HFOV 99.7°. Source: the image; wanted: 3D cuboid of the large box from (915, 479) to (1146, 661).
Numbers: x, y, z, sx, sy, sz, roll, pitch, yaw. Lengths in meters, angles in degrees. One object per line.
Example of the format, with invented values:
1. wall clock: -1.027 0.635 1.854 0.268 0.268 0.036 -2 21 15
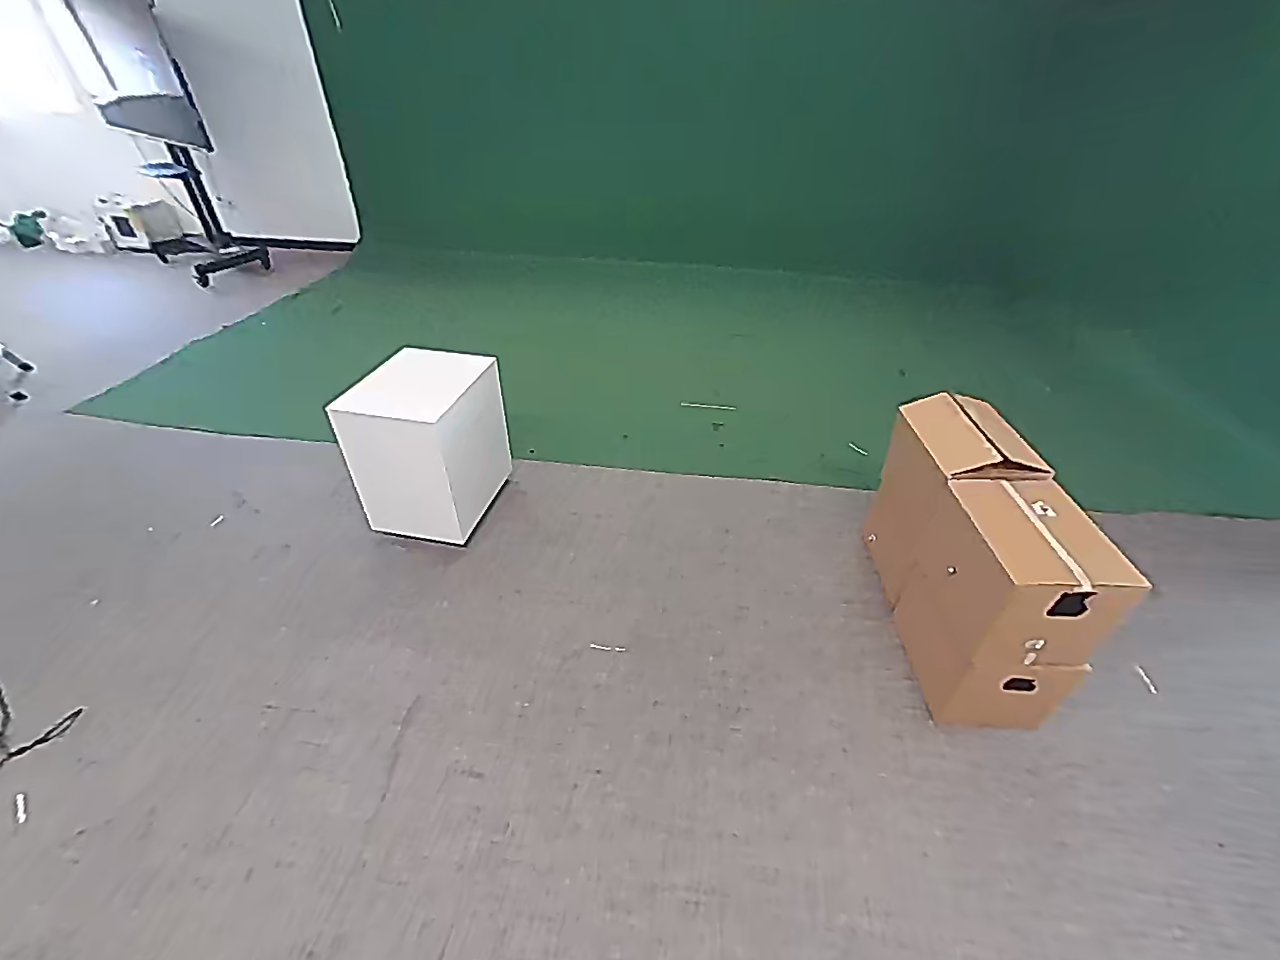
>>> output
1. large box: 1.021 0.240 1.488 0.320 0.320 0.408 1 37 2
